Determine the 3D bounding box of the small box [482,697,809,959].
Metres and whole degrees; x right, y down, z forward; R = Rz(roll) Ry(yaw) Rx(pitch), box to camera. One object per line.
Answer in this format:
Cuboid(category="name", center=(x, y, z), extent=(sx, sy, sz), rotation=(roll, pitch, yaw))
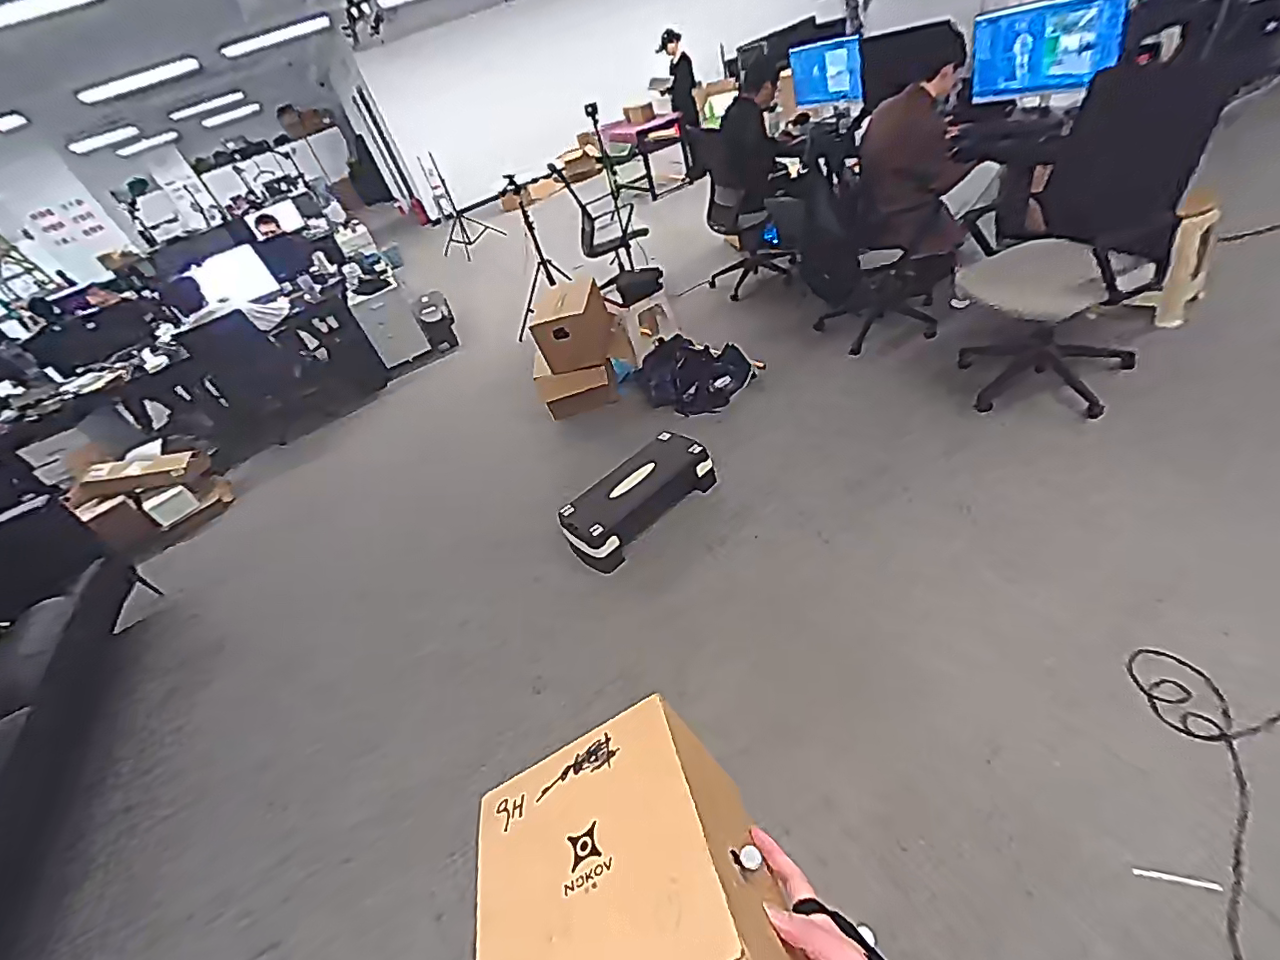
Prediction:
Cuboid(category="small box", center=(0.004, 0.306, 0.396), extent=(0.168, 0.176, 0.179), rotation=(-31, 32, 1))
